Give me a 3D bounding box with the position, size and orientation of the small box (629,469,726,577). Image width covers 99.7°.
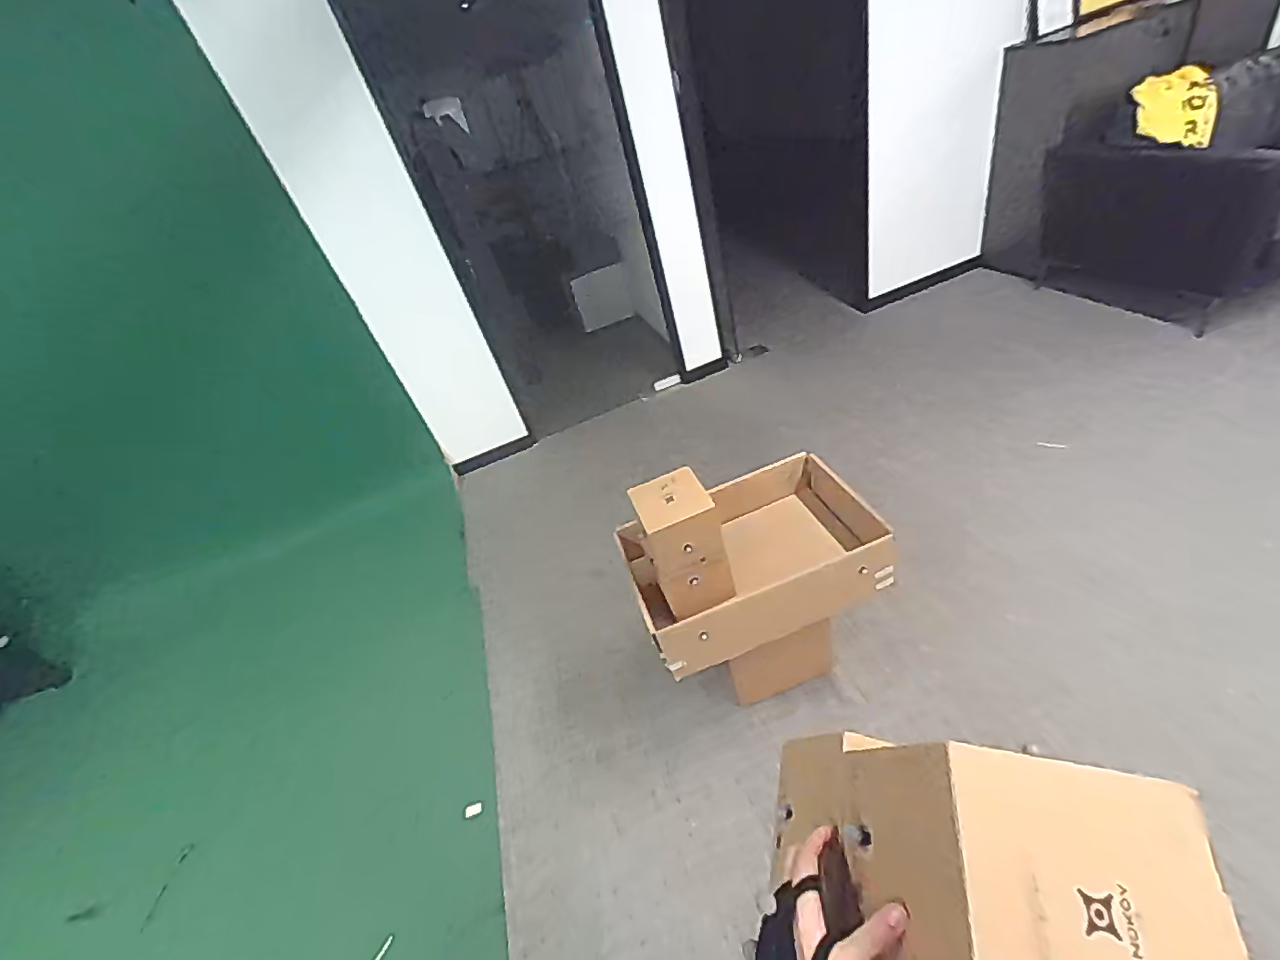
[{"bbox_3d":[0.093,0.110,1.295,0.168,0.176,0.179,-22,36,-4],"label":"small box"}]

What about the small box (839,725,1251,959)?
[{"bbox_3d":[0.262,0.286,0.386,0.179,0.176,0.168,11,59,0],"label":"small box"}]
